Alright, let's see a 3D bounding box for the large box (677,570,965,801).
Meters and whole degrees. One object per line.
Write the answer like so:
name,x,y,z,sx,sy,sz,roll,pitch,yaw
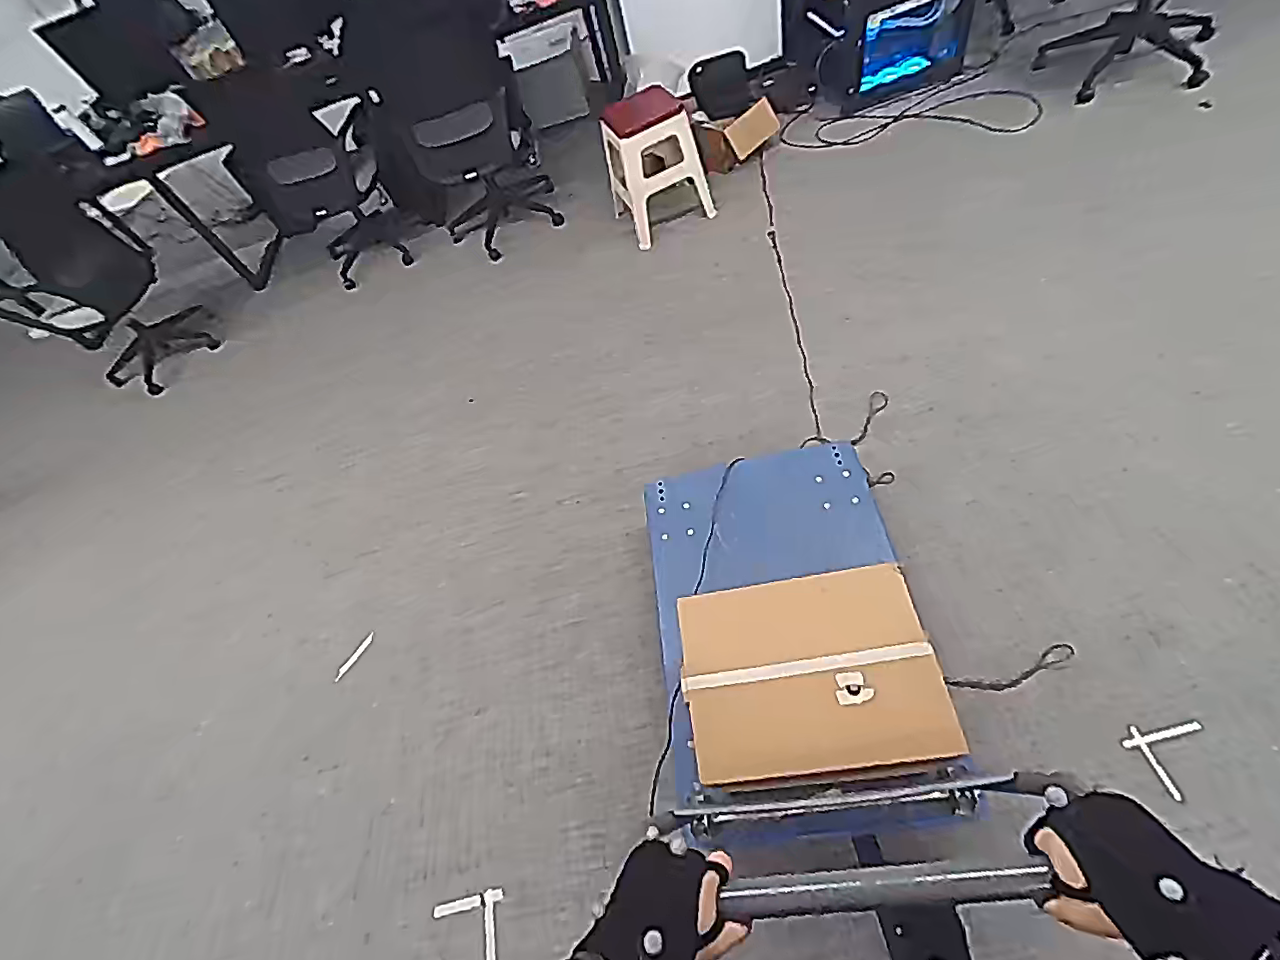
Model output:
large box,0.306,0.402,1.020,0.408,0.320,0.320,-11,57,8
